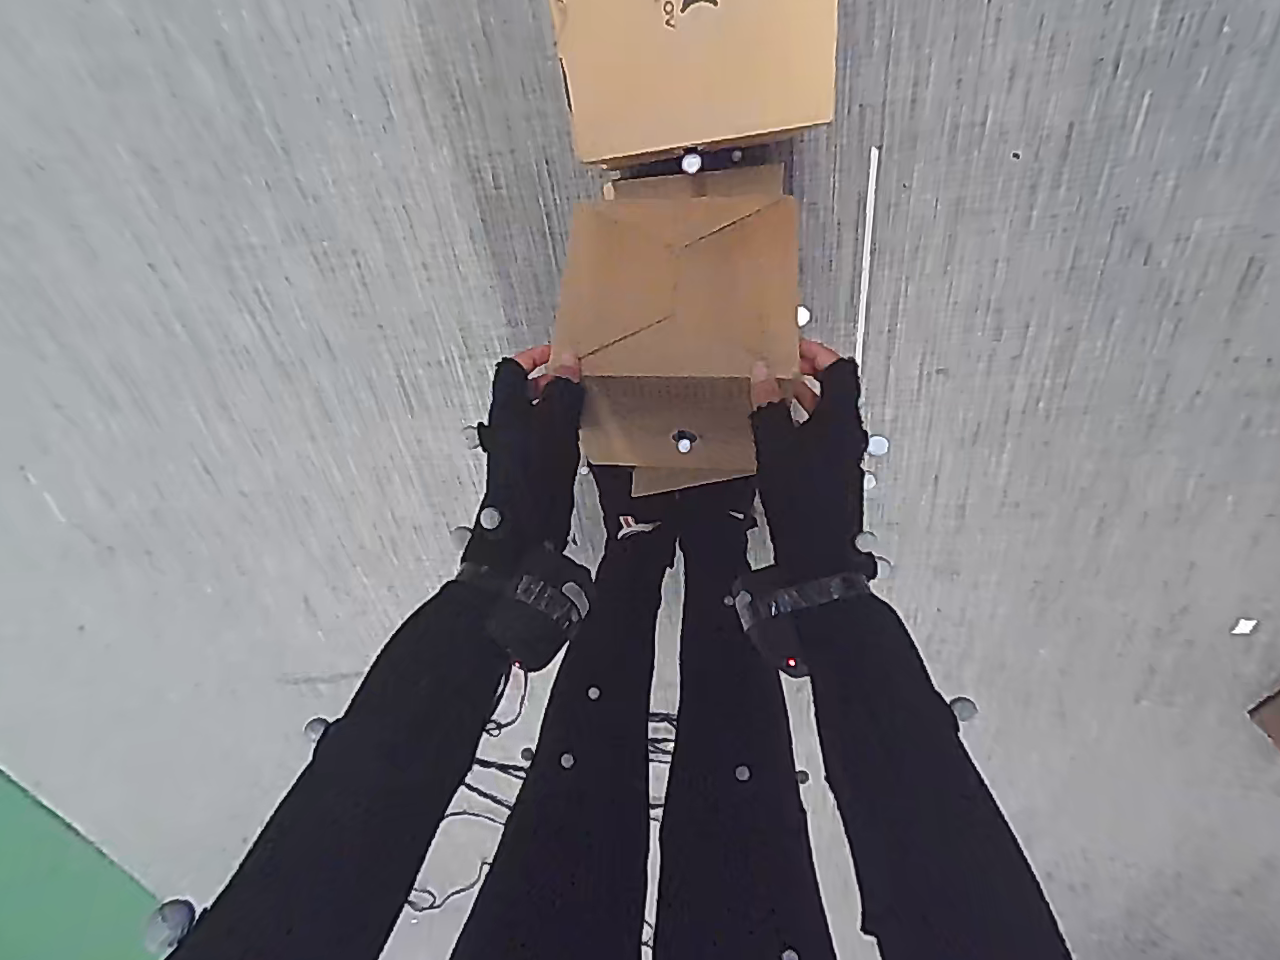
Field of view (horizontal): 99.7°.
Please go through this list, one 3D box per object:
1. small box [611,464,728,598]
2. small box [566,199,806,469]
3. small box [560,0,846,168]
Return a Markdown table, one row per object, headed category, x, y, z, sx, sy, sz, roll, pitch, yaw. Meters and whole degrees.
| category | x | y | z | sx | sy | sz | roll | pitch | yaw |
| --- | --- | --- | --- | --- | --- | --- | --- | --- | --- |
| small box | 0.038 | 0.067 | 0.863 | 0.168 | 0.176 | 0.179 | -2 | 123 | -3 |
| small box | 0.039 | -0.119 | 0.475 | 0.179 | 0.168 | 0.176 | 3 | 158 | 8 |
| small box | 0.045 | -0.338 | 0.399 | 0.179 | 0.176 | 0.168 | -3 | 120 | 10 |
